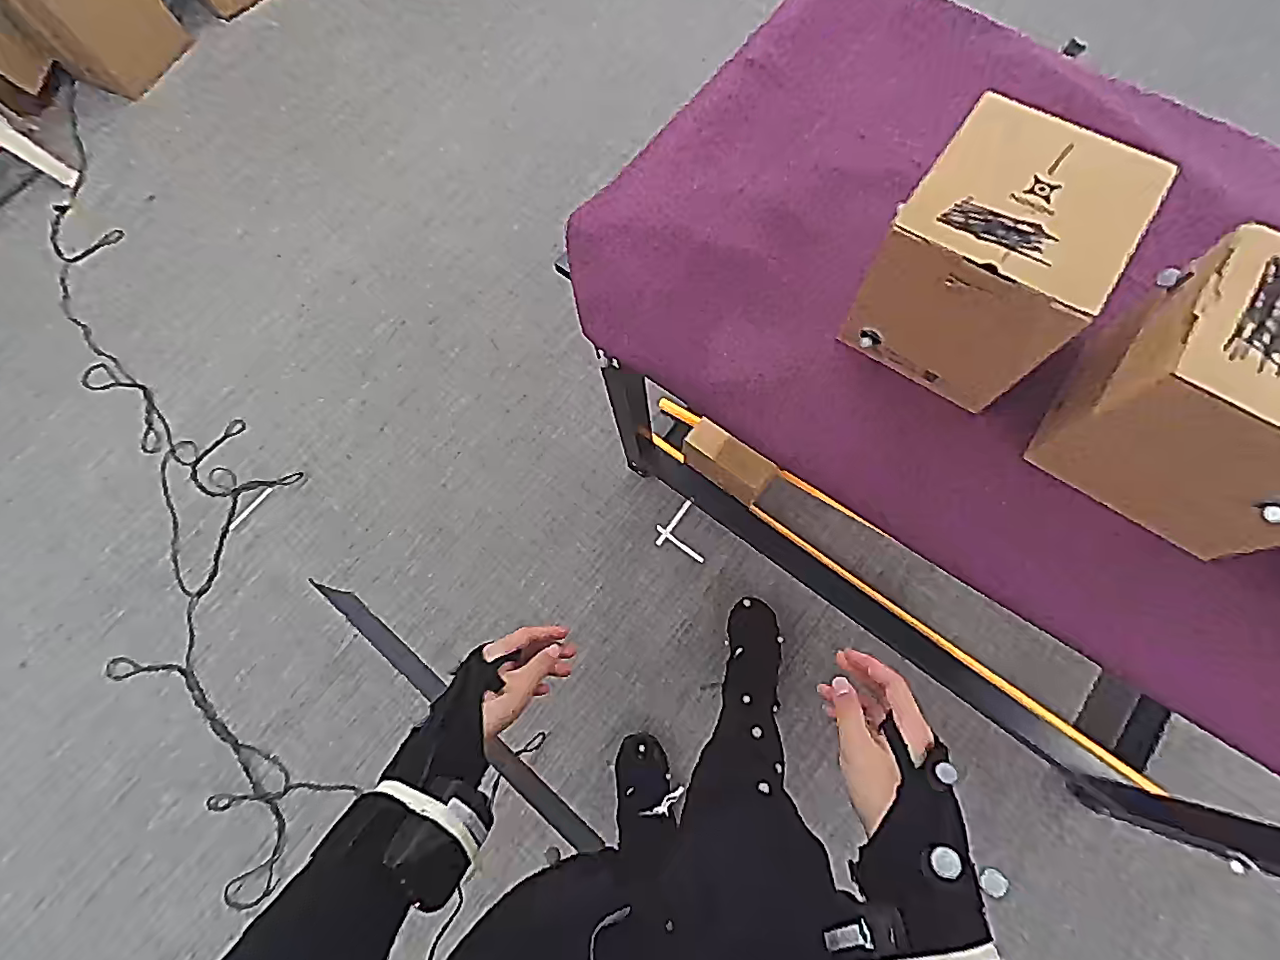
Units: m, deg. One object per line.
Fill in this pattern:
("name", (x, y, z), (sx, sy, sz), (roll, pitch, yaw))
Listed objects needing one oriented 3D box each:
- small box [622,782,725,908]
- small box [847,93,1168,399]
("small box", (0.055, 0.667, 1.006), (0.179, 0.176, 0.168), (0, 69, 1))
("small box", (0.324, -0.209, 0.519), (0.168, 0.176, 0.179), (34, 76, 13))
